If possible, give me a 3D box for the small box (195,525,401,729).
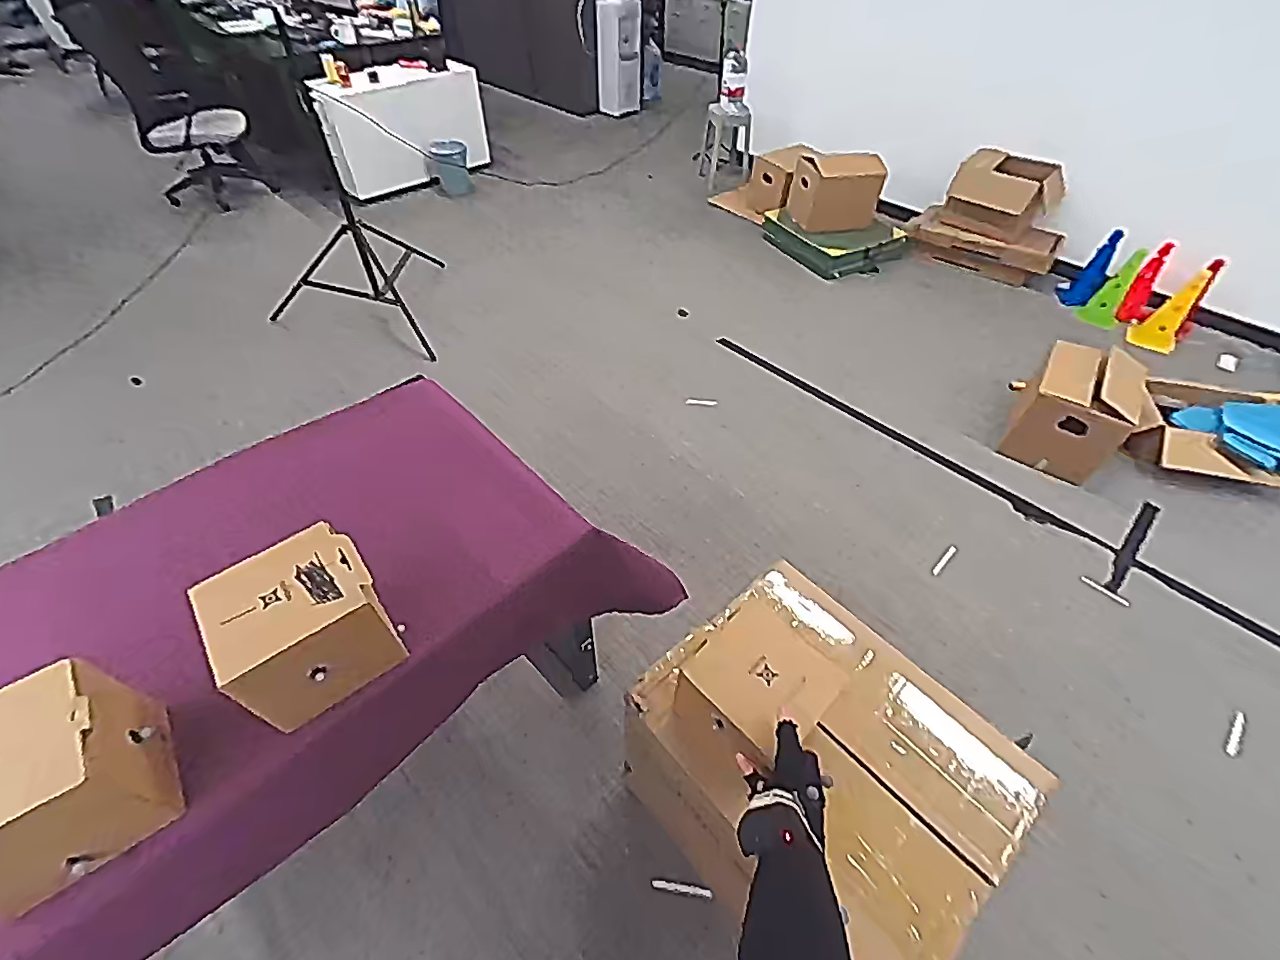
[{"bbox_3d":[-0.454,0.202,0.746,0.179,0.176,0.168,-31,55,-25],"label":"small box"}]

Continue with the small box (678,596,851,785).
[{"bbox_3d":[0.172,0.315,0.802,0.168,0.176,0.179,-37,60,-27],"label":"small box"}]

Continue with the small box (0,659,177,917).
[{"bbox_3d":[-0.670,0.345,0.611,0.179,0.176,0.168,-29,54,-26],"label":"small box"}]
